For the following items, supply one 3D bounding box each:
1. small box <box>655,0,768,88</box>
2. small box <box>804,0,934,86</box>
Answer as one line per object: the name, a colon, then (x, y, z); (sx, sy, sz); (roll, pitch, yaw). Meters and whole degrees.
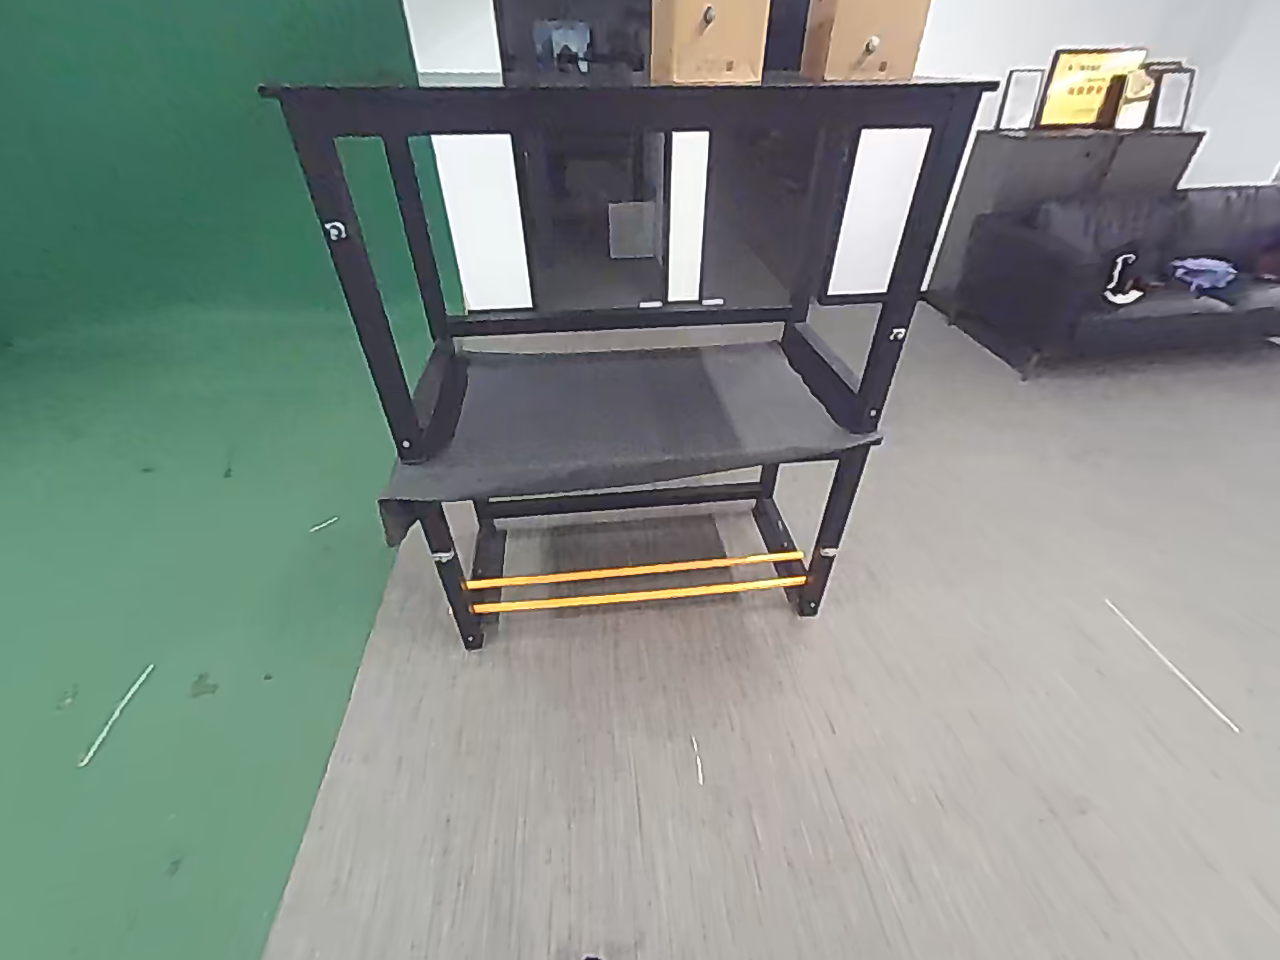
small box: (0.124, -0.811, 0.969); (0.168, 0.176, 0.179); (-7, 38, -9)
small box: (0.415, -0.839, 0.999); (0.168, 0.176, 0.179); (-1, 39, -1)
